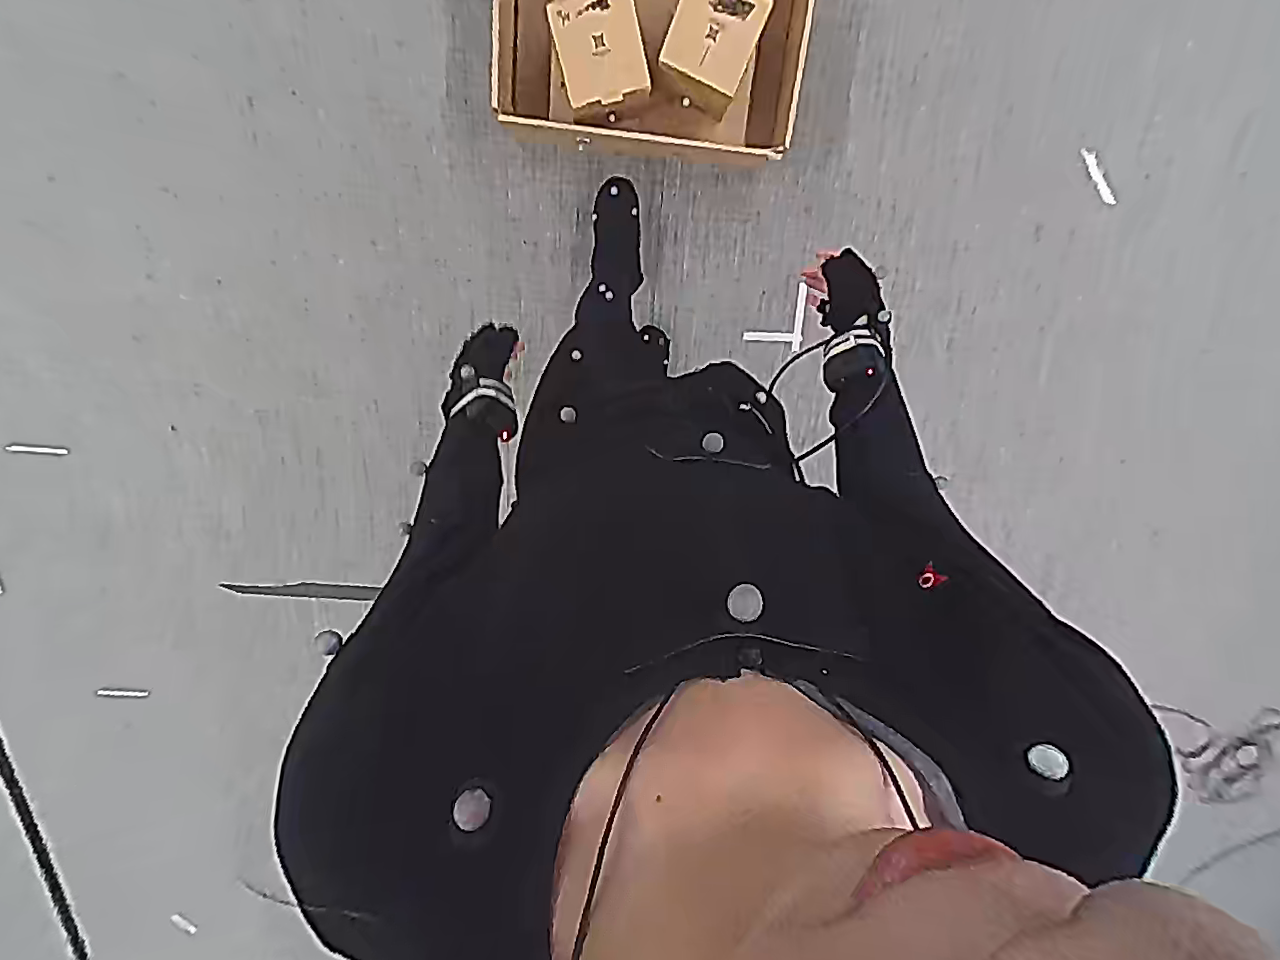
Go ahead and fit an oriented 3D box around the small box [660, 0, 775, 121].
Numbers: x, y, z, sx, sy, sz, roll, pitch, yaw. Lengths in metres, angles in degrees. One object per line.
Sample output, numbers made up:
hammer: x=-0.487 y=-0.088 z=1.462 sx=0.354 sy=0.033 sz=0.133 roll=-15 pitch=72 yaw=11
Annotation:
small box: x=0.146 y=-0.884 z=1.107 sx=0.168 sy=0.176 sz=0.179 roll=22 pitch=108 yaw=-8
